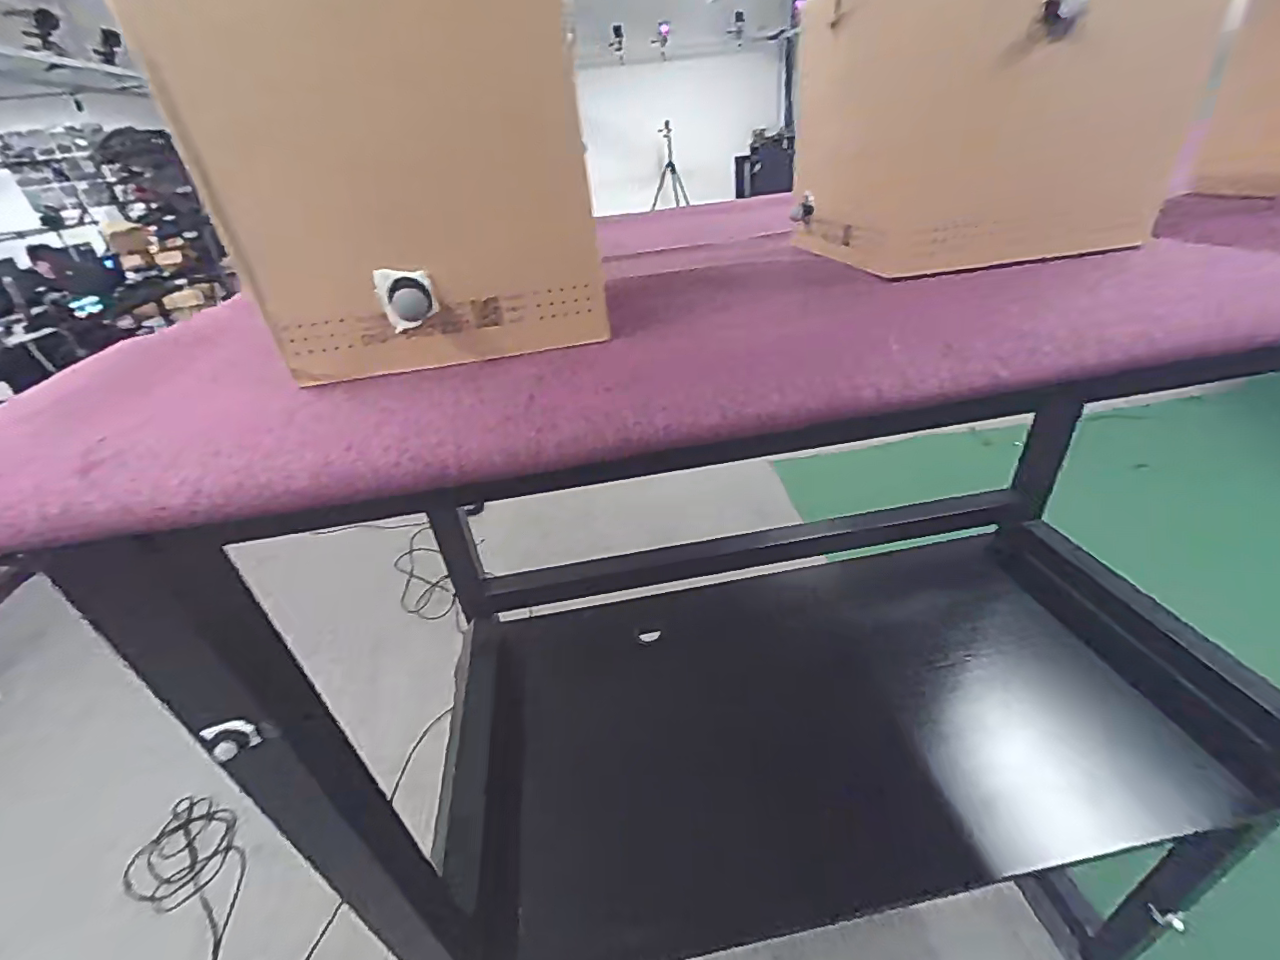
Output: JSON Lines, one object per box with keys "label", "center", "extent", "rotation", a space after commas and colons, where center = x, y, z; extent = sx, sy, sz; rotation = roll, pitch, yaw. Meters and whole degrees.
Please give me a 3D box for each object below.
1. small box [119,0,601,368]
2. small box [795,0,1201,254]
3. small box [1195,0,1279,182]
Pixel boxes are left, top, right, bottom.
{"label": "small box", "center": [-0.123, -0.178, 0.304], "extent": [0.168, 0.176, 0.179], "rotation": [-12, 34, -7]}
{"label": "small box", "center": [0.215, -0.255, 0.360], "extent": [0.179, 0.176, 0.168], "rotation": [-9, 31, -4]}
{"label": "small box", "center": [0.570, -0.312, 0.380], "extent": [0.168, 0.176, 0.179], "rotation": [-9, 31, -1]}
